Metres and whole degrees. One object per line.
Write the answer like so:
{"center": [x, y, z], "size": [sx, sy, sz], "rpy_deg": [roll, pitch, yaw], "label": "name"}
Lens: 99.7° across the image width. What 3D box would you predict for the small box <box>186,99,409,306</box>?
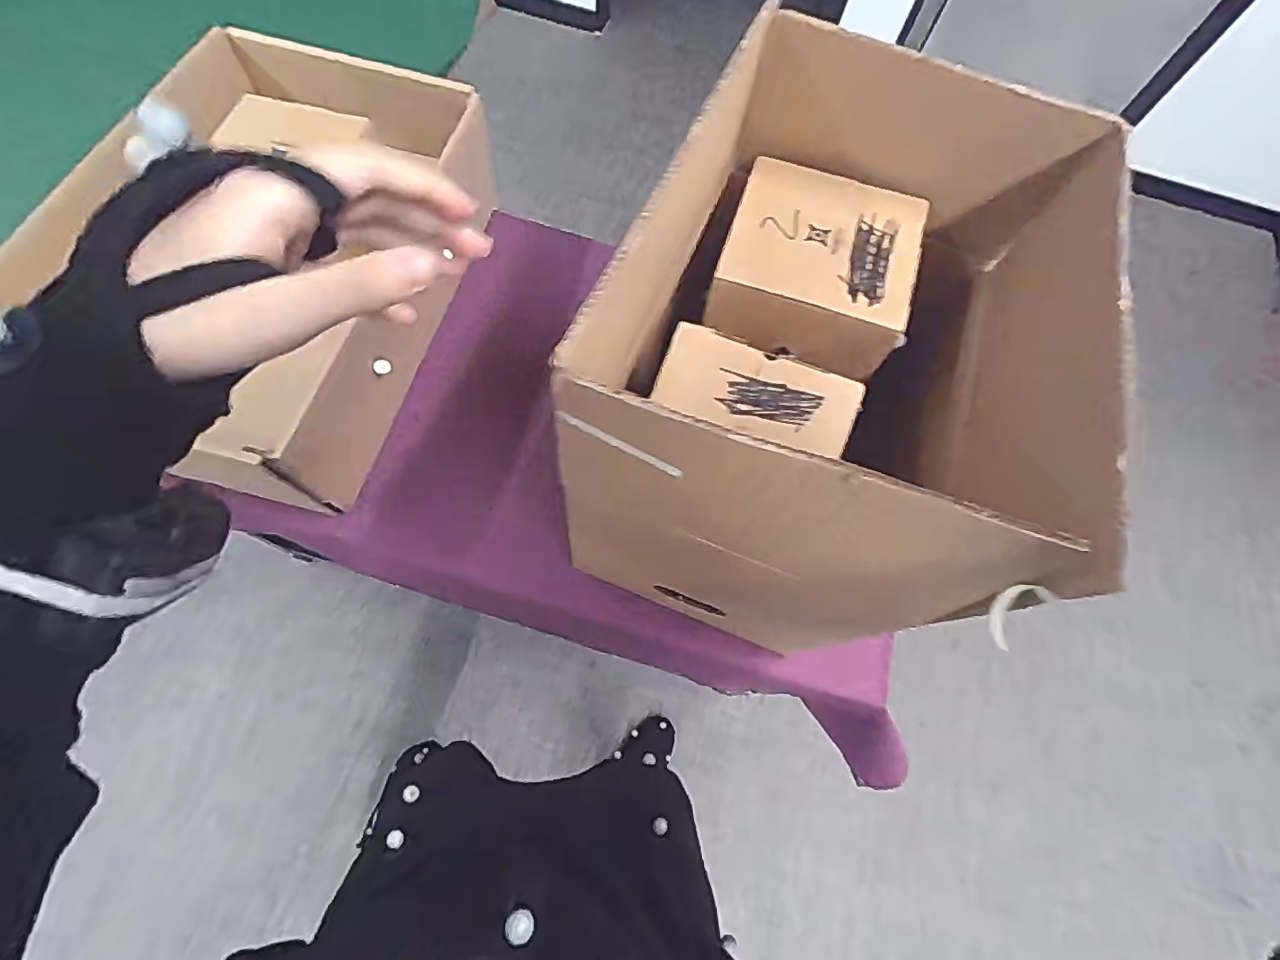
{"center": [-0.441, -0.366, 0.735], "size": [0.168, 0.176, 0.179], "rpy_deg": [12, 67, 1], "label": "small box"}
